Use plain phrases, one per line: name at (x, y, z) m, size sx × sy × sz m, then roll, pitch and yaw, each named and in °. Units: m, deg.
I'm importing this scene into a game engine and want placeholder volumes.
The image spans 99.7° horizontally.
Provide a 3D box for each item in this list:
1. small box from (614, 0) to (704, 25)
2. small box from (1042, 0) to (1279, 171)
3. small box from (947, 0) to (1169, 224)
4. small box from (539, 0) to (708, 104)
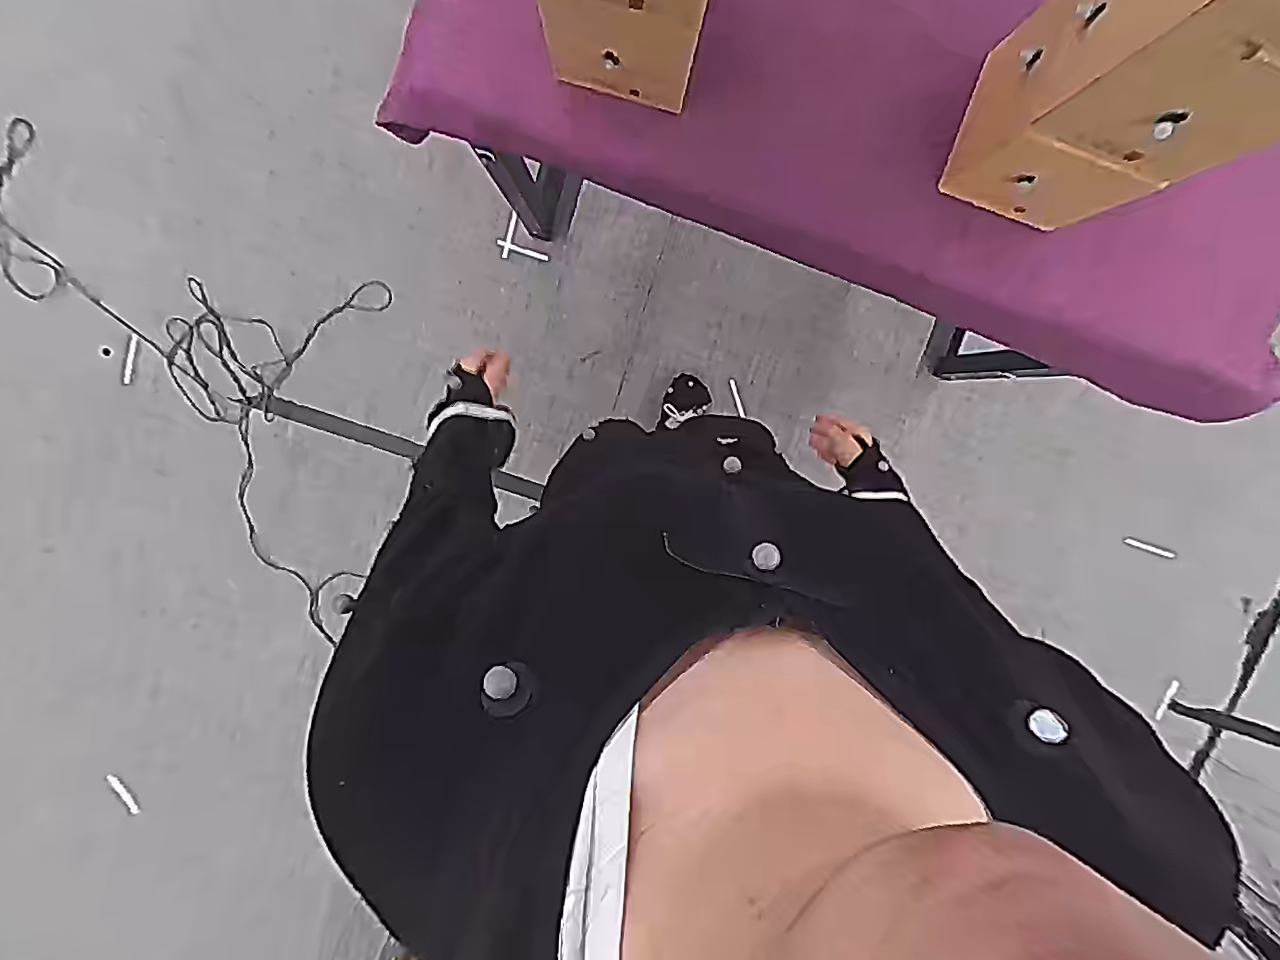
small box at (-0.002, -0.525, 0.434) m, size 0.168 × 0.176 × 0.179 m, roll 12°, pitch 98°, yaw -4°
small box at (0.500, -0.404, 0.464) m, size 0.168 × 0.176 × 0.179 m, roll 19°, pitch 99°, yaw -4°
small box at (0.496, -0.426, 0.626) m, size 0.168 × 0.176 × 0.179 m, roll 18°, pitch 98°, yaw -3°
small box at (-0.004, -0.559, 0.592) m, size 0.168 × 0.176 × 0.179 m, roll 14°, pitch 98°, yaw -4°
